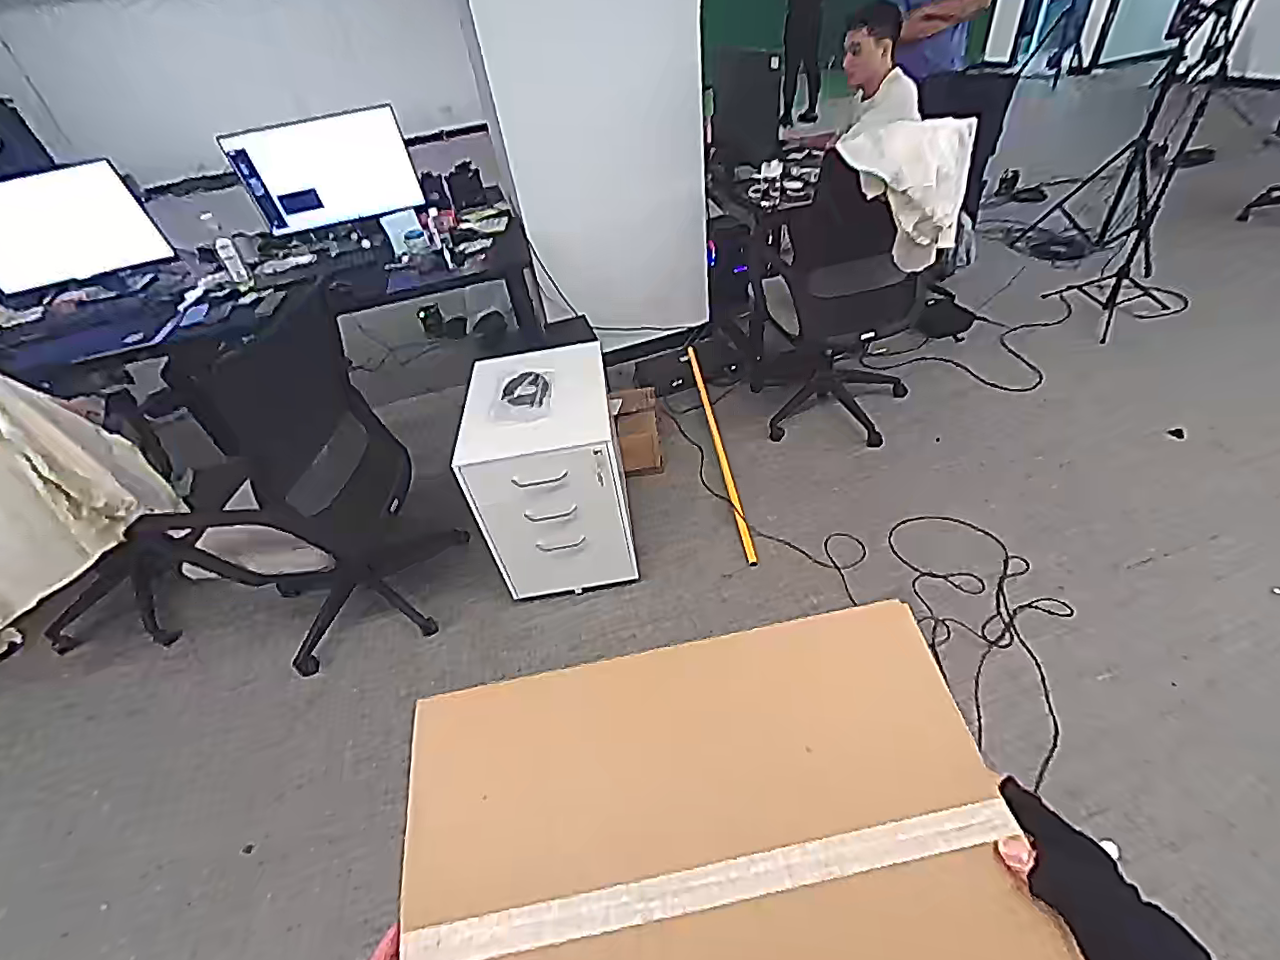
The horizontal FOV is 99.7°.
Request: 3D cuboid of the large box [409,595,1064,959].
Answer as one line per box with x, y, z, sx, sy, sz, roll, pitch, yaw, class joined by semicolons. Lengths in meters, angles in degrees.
0.057;0.341;0.484;0.408;0.320;0.320;-11;54;-2;large box
